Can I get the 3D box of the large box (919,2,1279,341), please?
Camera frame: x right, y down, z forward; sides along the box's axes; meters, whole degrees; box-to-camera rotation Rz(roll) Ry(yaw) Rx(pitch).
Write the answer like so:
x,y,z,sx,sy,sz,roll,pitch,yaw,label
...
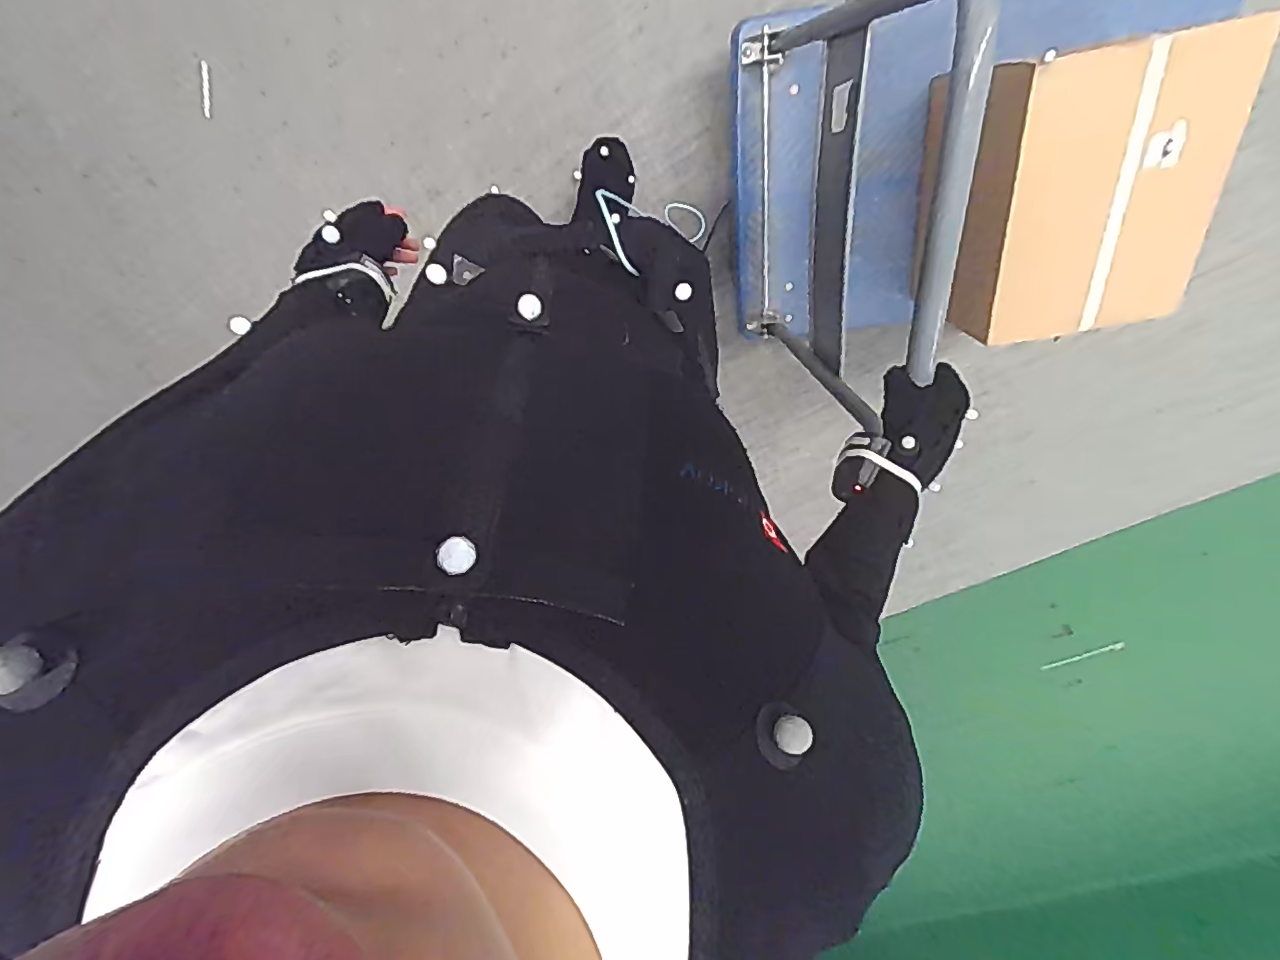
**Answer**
x,y,z,sx,sy,sz,roll,pitch,yaw,label
0.716,-0.508,0.939,0.320,0.320,0.408,-10,123,5,large box
